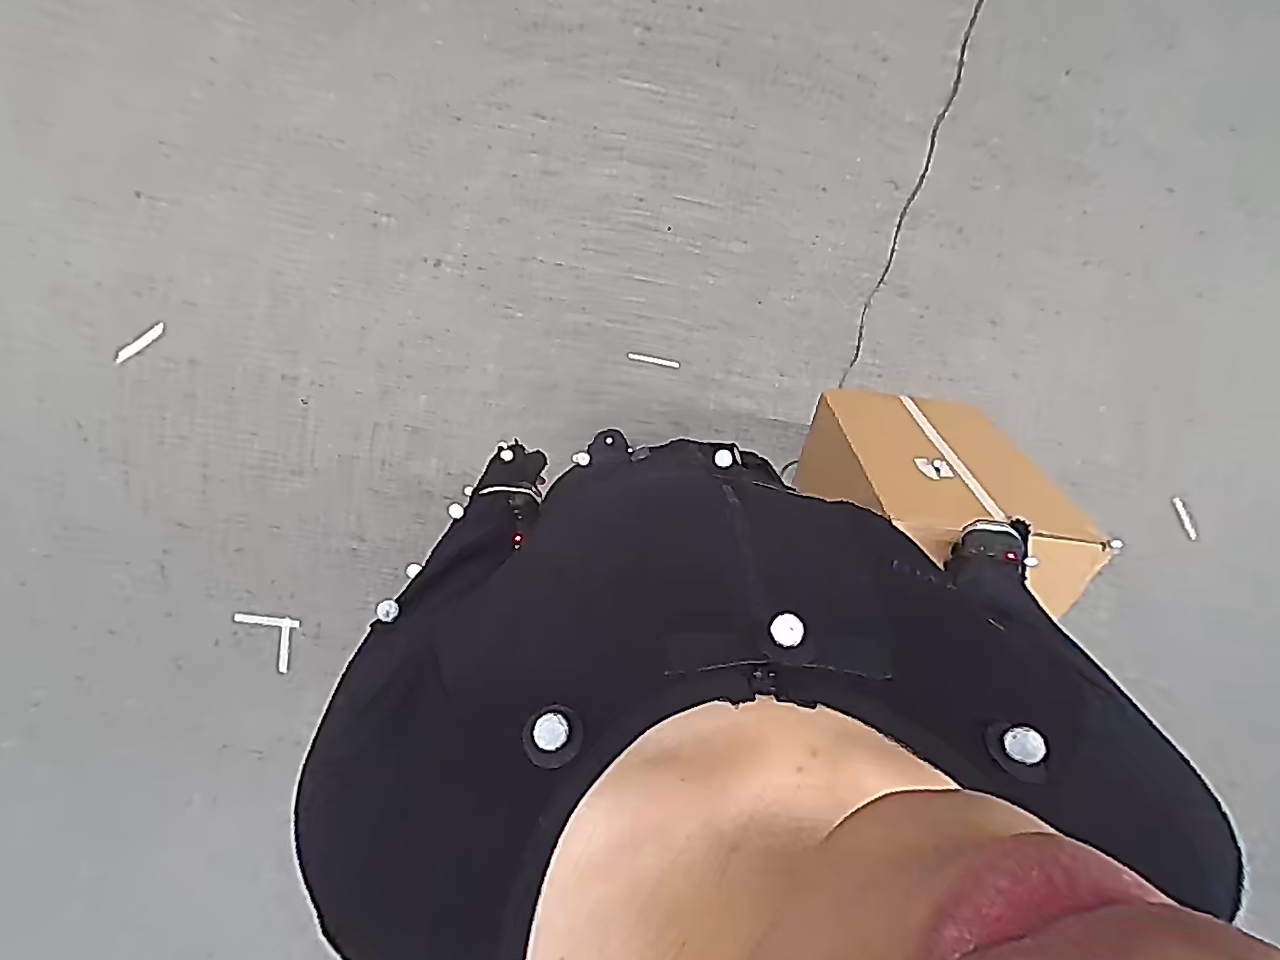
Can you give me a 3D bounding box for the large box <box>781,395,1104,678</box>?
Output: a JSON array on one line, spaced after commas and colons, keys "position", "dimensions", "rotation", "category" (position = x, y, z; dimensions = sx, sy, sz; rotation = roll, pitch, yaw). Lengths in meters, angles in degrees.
[{"position": [0.479, 0.087, 0.987], "dimensions": [0.320, 0.408, 0.320], "rotation": [6, 126, -2], "category": "large box"}]
